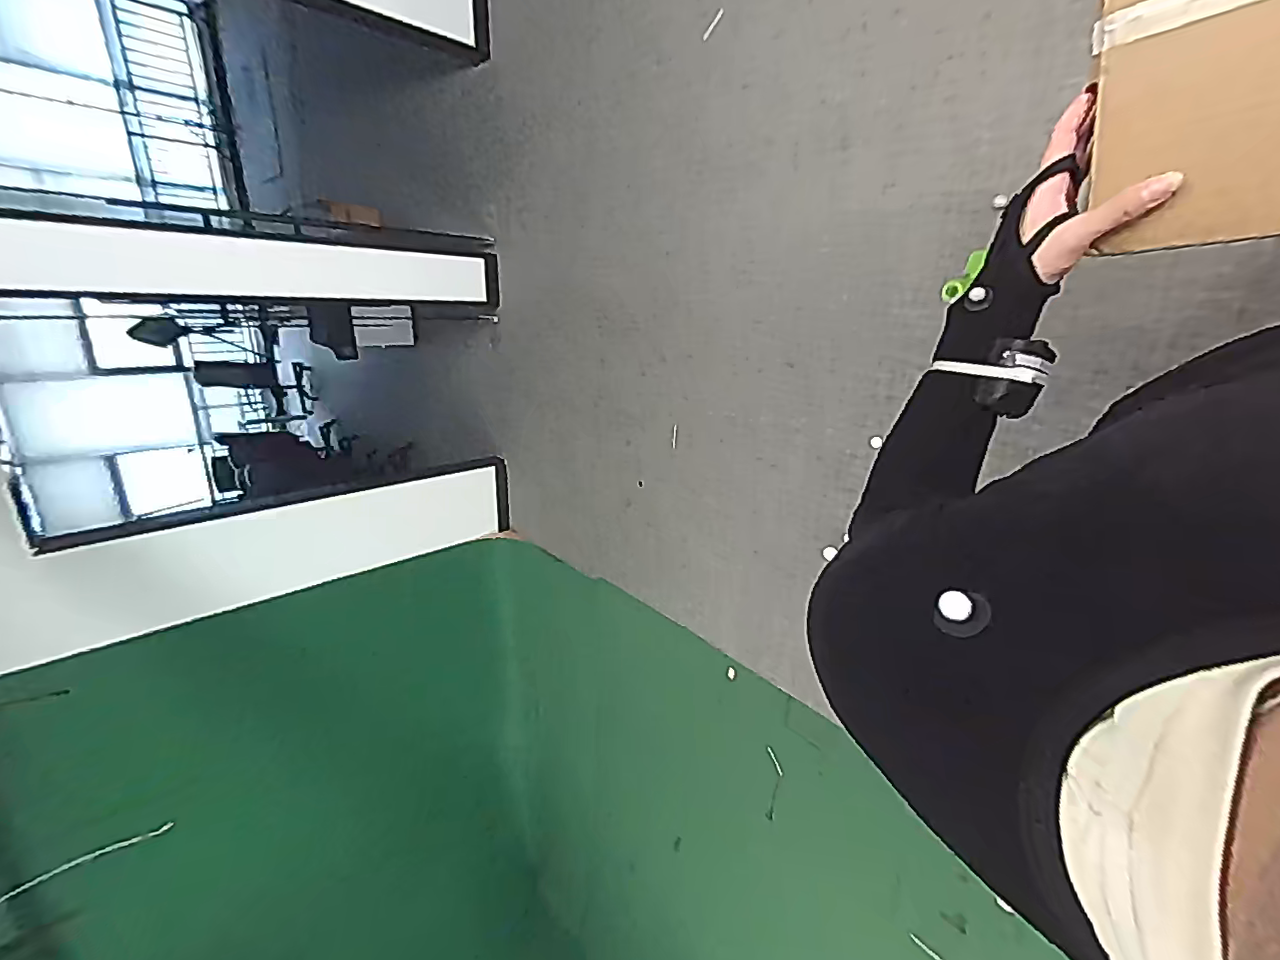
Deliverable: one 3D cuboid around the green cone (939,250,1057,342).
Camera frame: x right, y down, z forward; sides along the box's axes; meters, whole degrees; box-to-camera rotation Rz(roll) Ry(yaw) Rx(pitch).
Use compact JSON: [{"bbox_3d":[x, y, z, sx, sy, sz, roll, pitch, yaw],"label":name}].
[{"bbox_3d":[0.773,-0.426,1.243,0.200,0.368,0.202,28,122,40],"label":"green cone"}]
